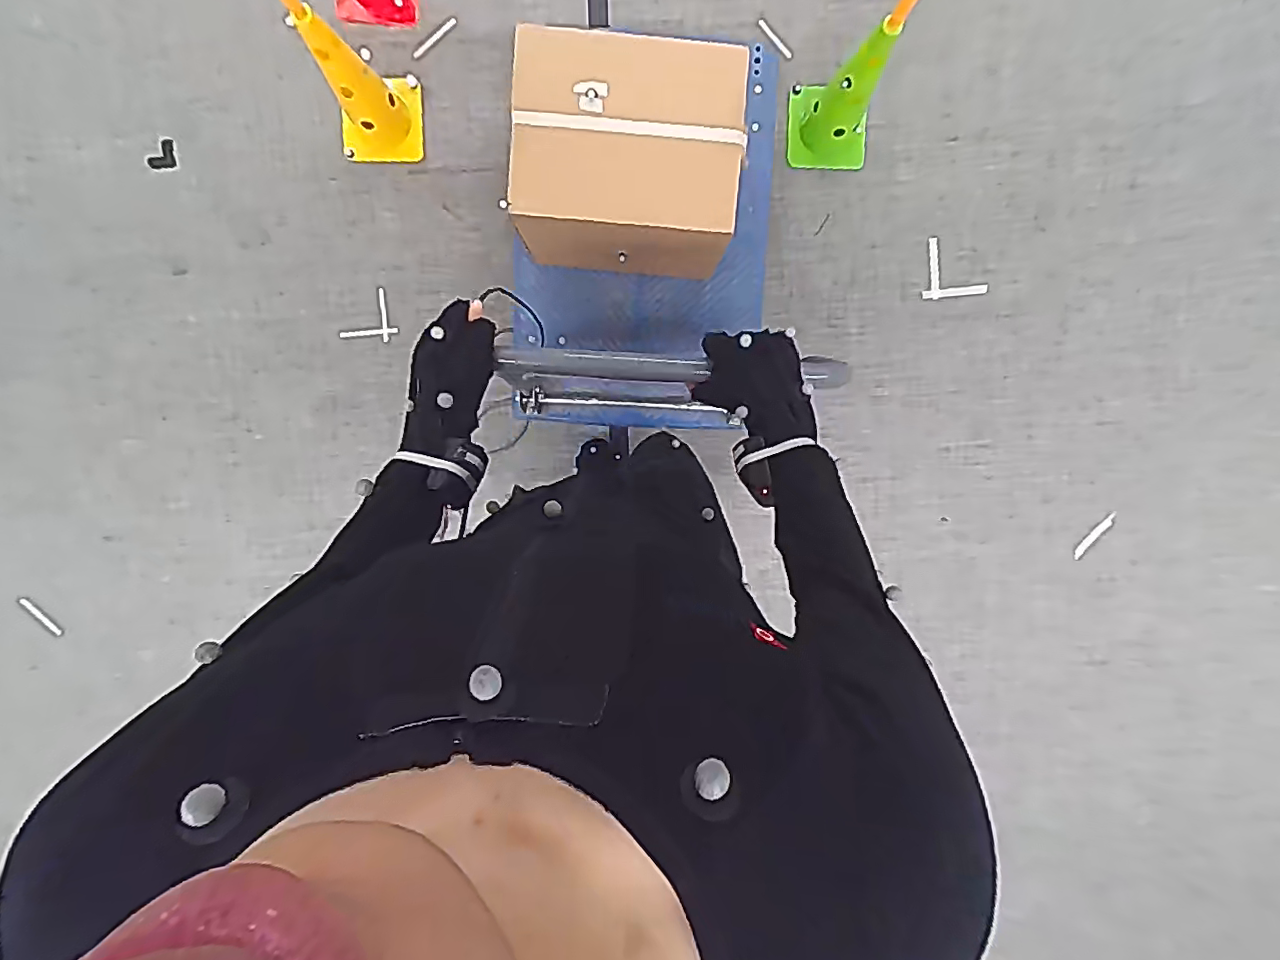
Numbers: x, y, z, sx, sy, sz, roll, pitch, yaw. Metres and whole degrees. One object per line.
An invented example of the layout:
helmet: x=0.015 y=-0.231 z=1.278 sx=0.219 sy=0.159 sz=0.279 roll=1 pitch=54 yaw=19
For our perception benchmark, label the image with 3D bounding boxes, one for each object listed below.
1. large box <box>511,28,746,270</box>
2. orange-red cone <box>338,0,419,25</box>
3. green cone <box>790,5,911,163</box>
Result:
large box: x=-0.021 y=-0.629 z=1.090 sx=0.408 sy=0.320 sz=0.320 roll=4 pitch=96 yaw=0
orange-red cone: x=-0.641 y=-1.231 z=1.171 sx=0.198 sy=0.360 sz=0.199 roll=4 pitch=94 yaw=-2
green cone: x=0.490 y=-0.904 z=1.215 sx=0.202 sy=0.368 sz=0.200 roll=0 pitch=95 yaw=-2
